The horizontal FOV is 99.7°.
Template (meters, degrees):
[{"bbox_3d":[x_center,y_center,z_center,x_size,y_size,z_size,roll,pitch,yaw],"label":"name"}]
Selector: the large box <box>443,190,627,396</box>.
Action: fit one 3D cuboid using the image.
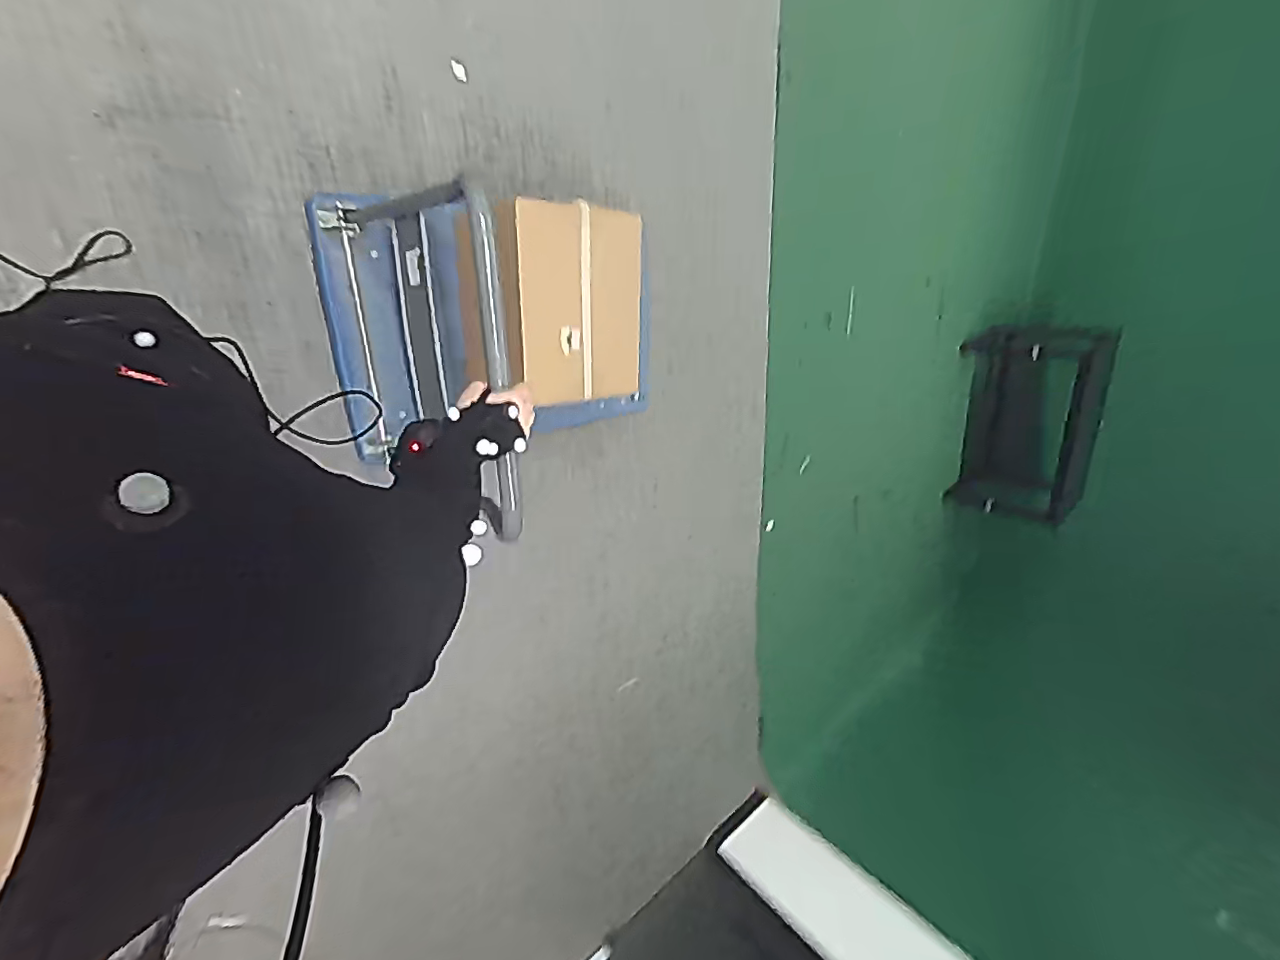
[{"bbox_3d":[-0.244,-0.439,1.286,0.320,0.320,0.408,-15,115,-37],"label":"large box"}]
